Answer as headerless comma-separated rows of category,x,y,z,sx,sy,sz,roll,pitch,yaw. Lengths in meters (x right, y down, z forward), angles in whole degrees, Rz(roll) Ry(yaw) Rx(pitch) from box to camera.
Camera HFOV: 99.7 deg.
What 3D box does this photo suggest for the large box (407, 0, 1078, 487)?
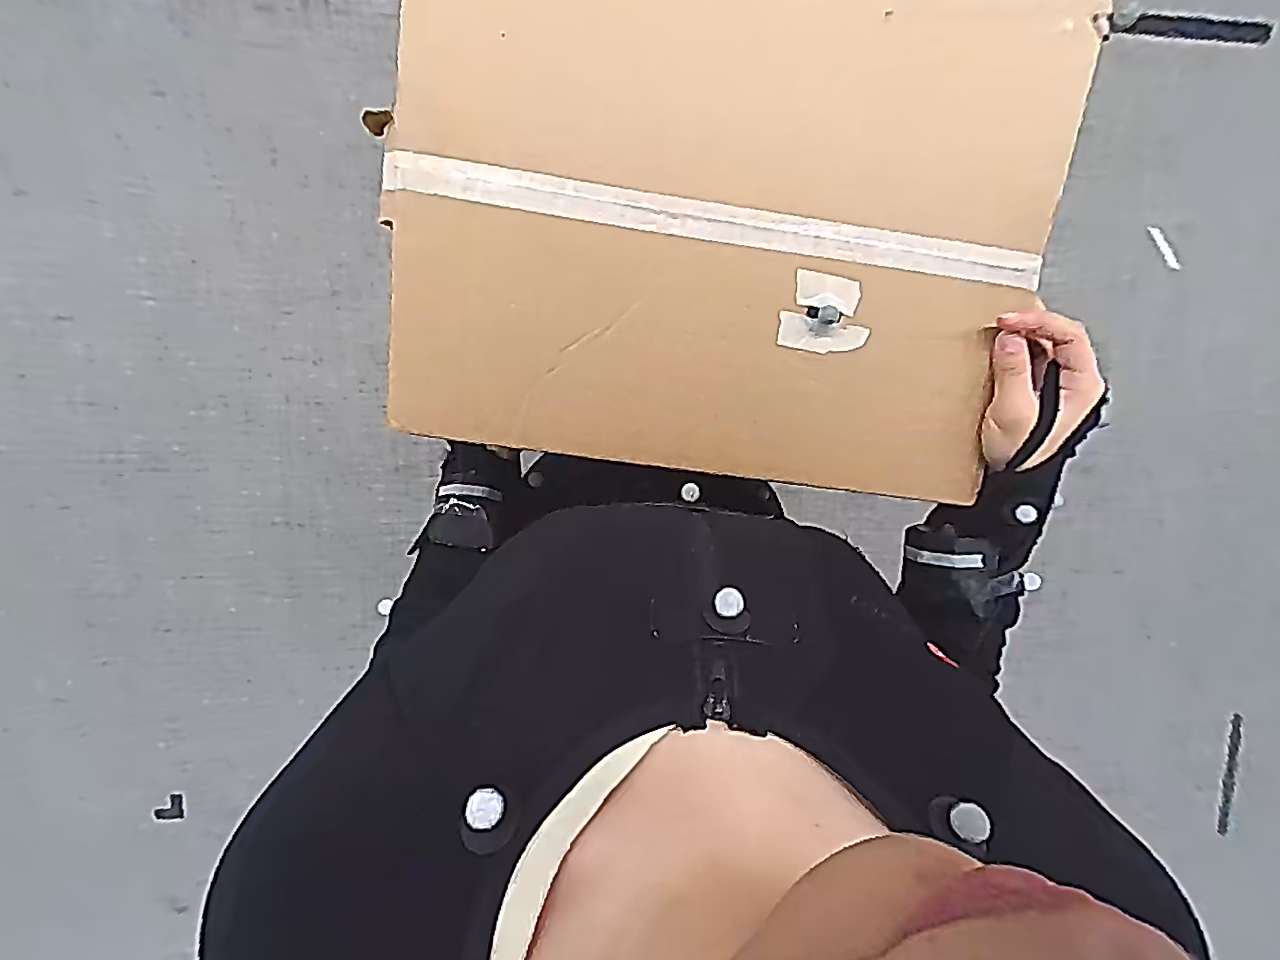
large box,0.046,-0.192,0.489,0.408,0.320,0.320,6,103,-6
